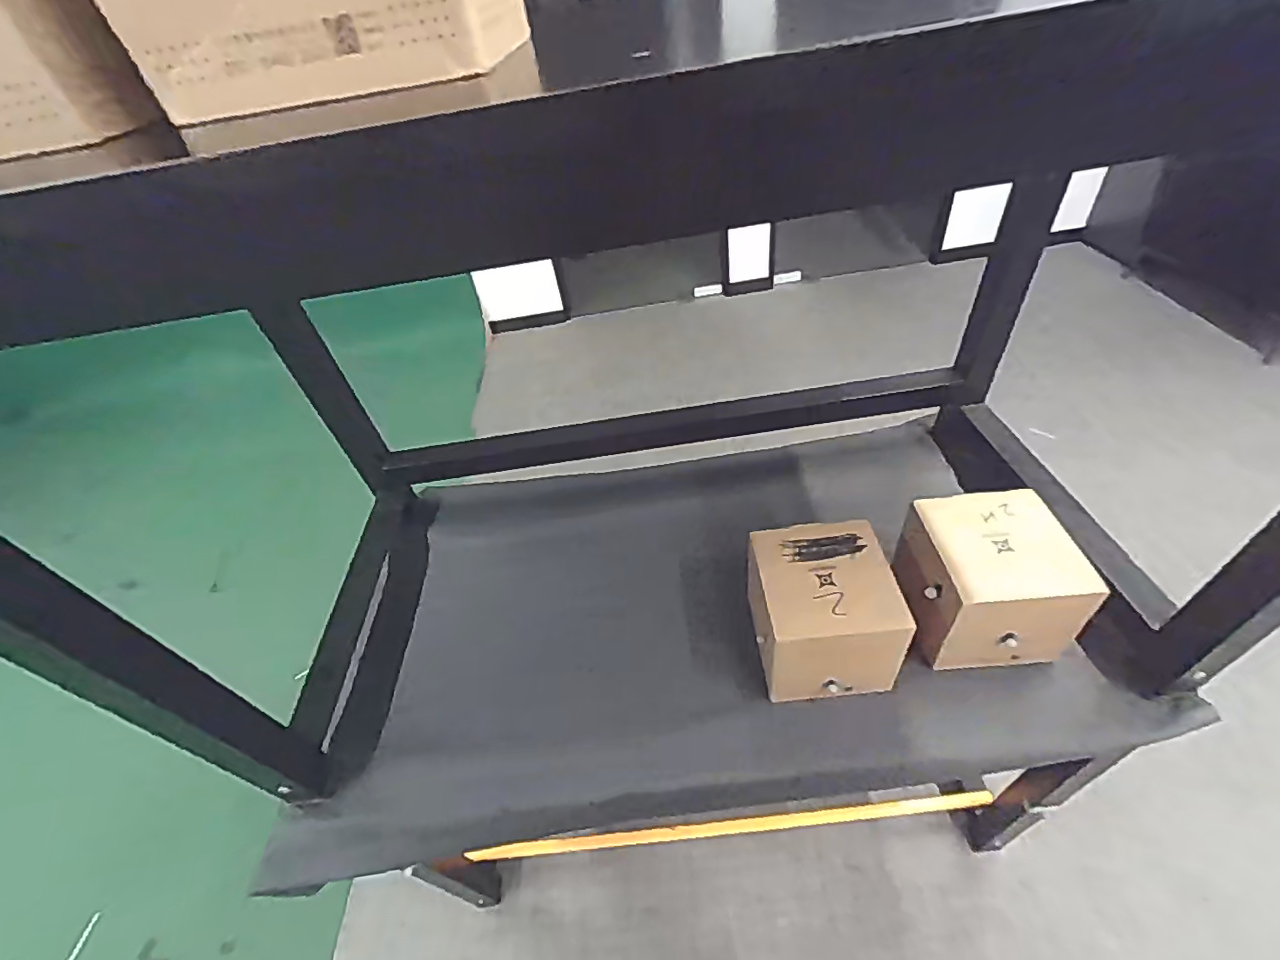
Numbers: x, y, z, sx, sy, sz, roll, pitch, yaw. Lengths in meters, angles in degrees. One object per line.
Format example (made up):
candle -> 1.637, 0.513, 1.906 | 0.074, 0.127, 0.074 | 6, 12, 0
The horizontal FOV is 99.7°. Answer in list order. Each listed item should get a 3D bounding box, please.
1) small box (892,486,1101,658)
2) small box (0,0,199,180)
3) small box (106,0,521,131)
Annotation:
small box -> 0.474, 0.135, 0.754 | 0.168, 0.176, 0.179 | -6, 43, 5
small box -> -0.365, -0.270, 0.284 | 0.168, 0.176, 0.179 | -7, 45, 4
small box -> -0.171, -0.299, 0.279 | 0.168, 0.176, 0.179 | -7, 44, 5
